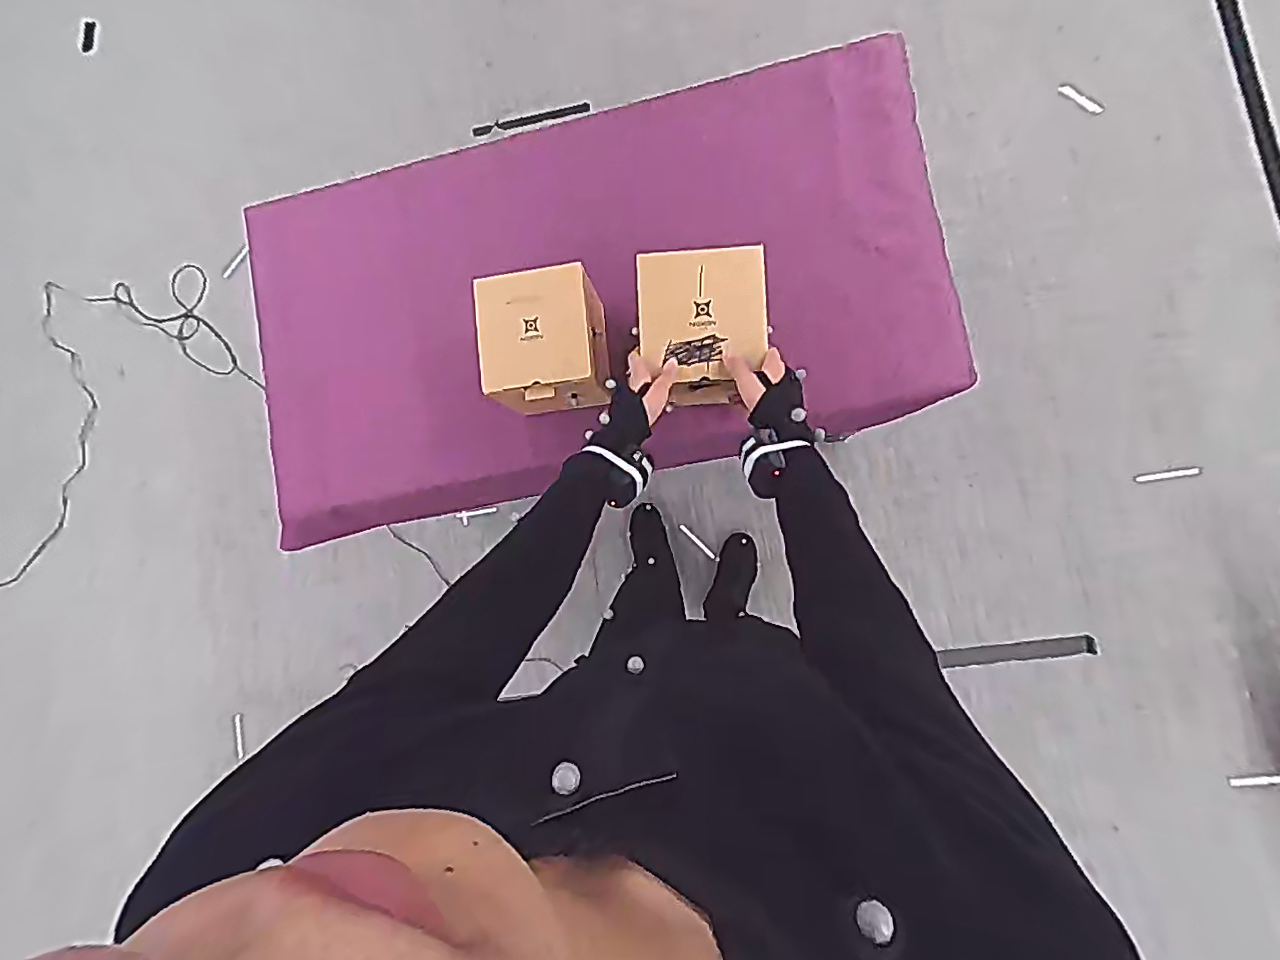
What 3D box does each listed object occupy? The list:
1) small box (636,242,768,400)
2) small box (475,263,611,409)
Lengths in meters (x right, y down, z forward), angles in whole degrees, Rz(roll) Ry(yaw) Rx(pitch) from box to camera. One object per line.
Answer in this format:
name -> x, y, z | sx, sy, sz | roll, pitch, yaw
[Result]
small box -> 0.086, -0.211, 0.768 | 0.168, 0.176, 0.179 | -2, 88, 4
small box -> -0.145, -0.214, 0.858 | 0.168, 0.176, 0.179 | -6, 85, 7
